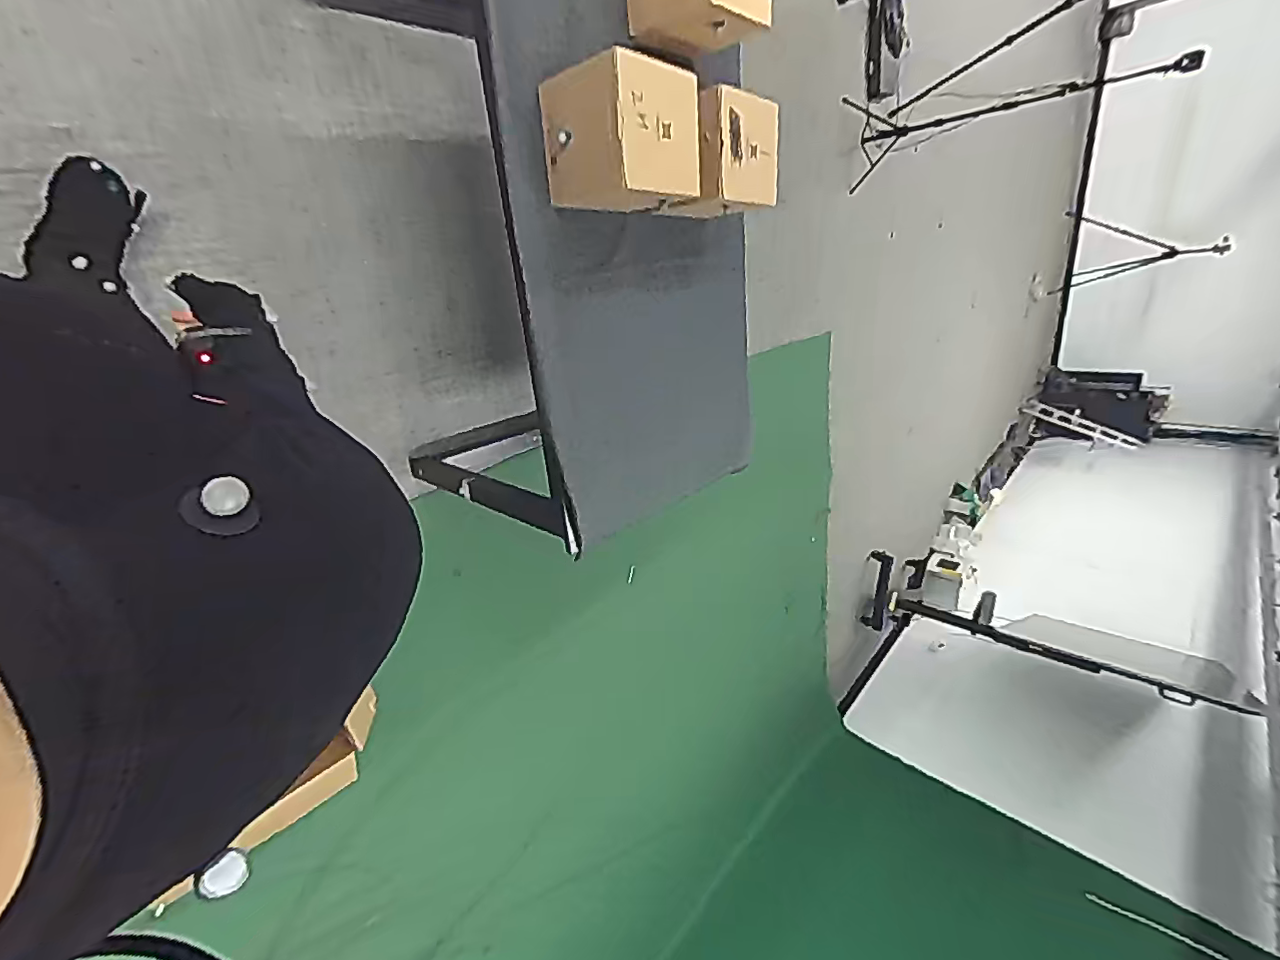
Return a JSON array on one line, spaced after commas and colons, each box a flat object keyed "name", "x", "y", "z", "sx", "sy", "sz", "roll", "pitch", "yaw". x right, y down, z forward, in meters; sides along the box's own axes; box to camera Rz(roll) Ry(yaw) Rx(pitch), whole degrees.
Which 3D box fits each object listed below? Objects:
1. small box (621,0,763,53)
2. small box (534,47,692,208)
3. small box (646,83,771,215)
[{"name": "small box", "x": 0.085, "y": -0.828, "z": 0.879, "sx": 0.179, "sy": 0.176, "sz": 0.168, "roll": -24, "pitch": 119, "yaw": -40}, {"name": "small box", "x": -0.038, "y": -0.523, "z": 0.833, "sx": 0.179, "sy": 0.176, "sz": 0.168, "roll": -23, "pitch": 117, "yaw": -42}, {"name": "small box", "x": 0.119, "y": -0.588, "z": 0.986, "sx": 0.179, "sy": 0.176, "sz": 0.168, "roll": -21, "pitch": 117, "yaw": -43}]
